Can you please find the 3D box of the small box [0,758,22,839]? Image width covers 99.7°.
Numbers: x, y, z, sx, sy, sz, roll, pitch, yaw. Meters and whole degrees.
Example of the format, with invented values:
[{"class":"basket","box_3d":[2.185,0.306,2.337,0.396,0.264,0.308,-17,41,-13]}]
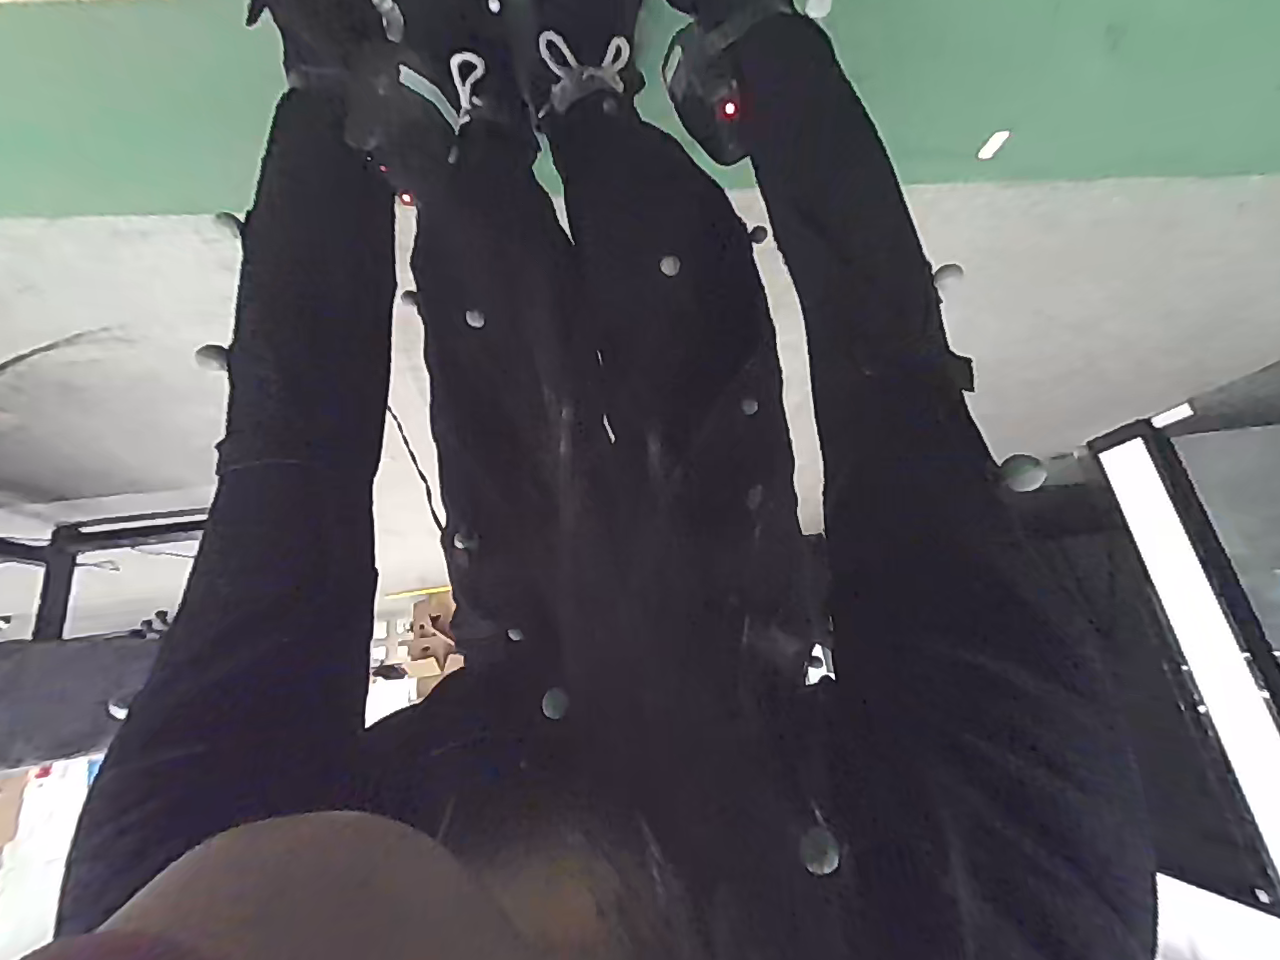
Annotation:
[{"class":"small box","box_3d":[-1.517,0.713,1.169,0.179,0.176,0.168,-6,163,-8]}]
